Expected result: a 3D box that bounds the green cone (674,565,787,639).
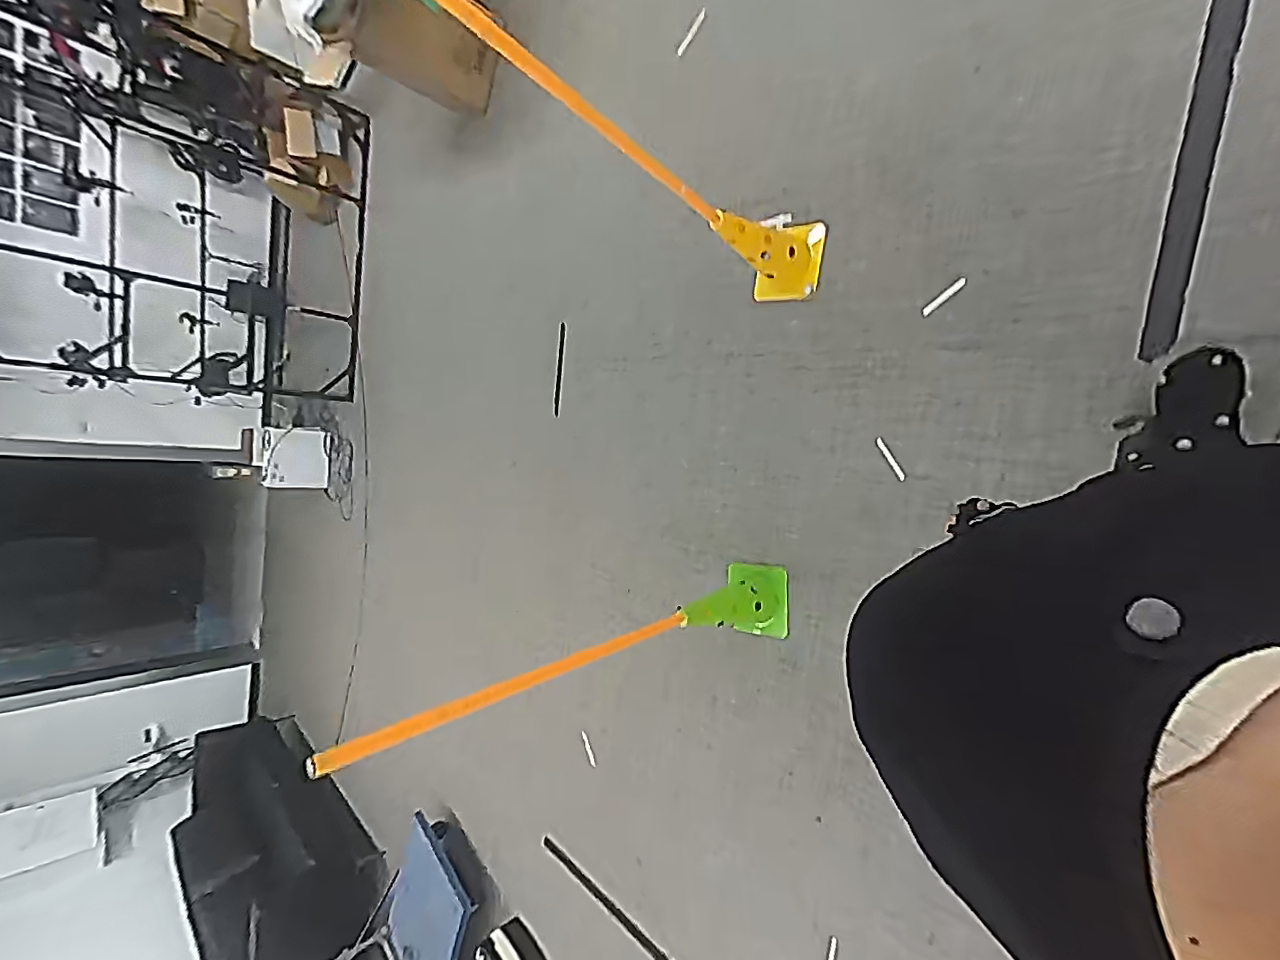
[{"bbox_3d":[0.225,0.347,1.465,0.200,0.368,0.202,-3,85,44],"label":"green cone"}]
